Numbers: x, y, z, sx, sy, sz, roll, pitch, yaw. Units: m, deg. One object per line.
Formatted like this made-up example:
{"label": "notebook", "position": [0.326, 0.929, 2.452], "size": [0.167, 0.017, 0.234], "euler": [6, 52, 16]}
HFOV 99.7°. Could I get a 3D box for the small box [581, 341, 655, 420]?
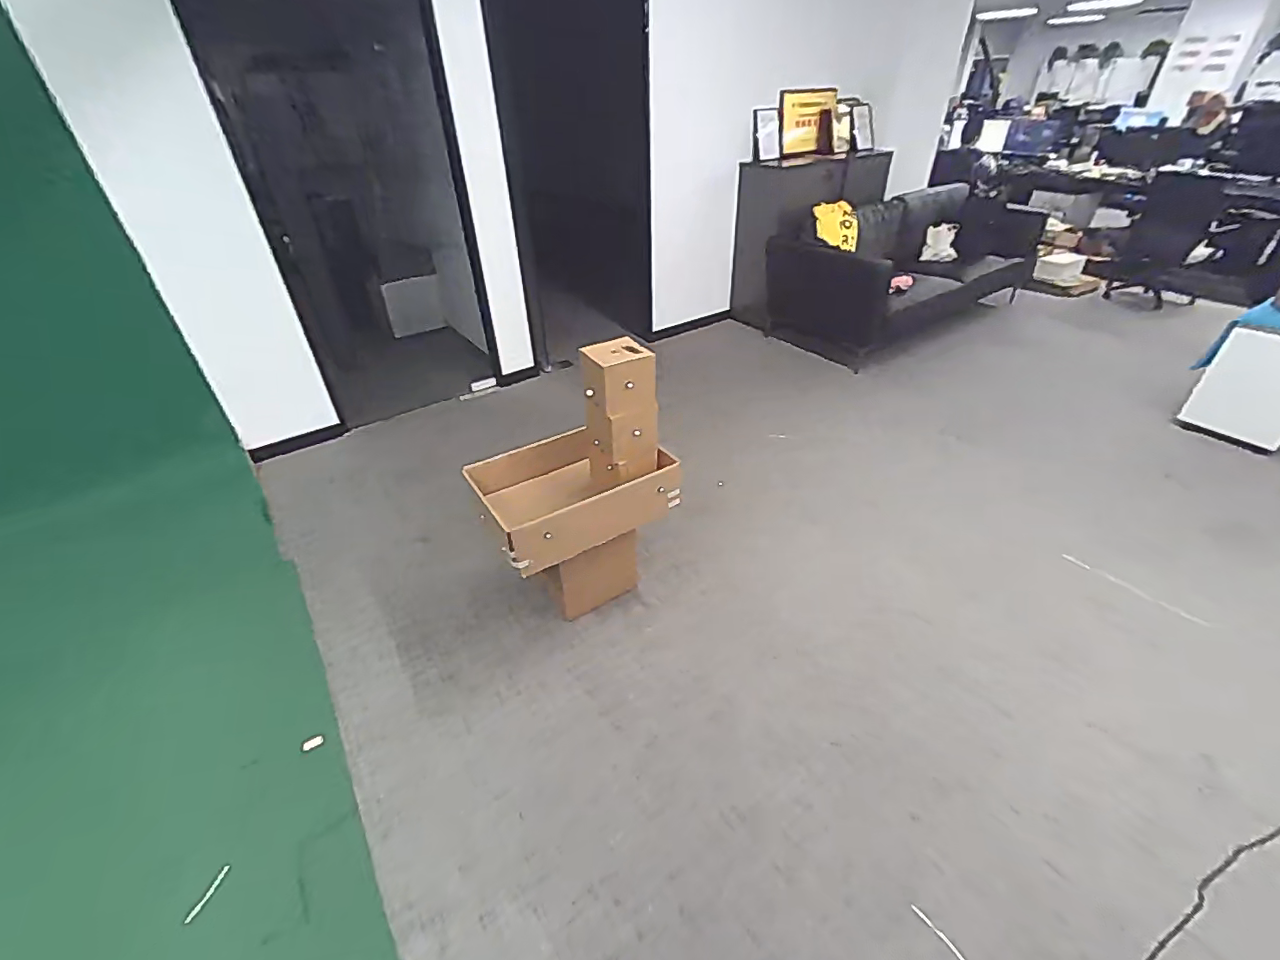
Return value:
{"label": "small box", "position": [-0.068, -0.308, 1.667], "size": [0.179, 0.176, 0.168], "euler": [-20, 40, -23]}
